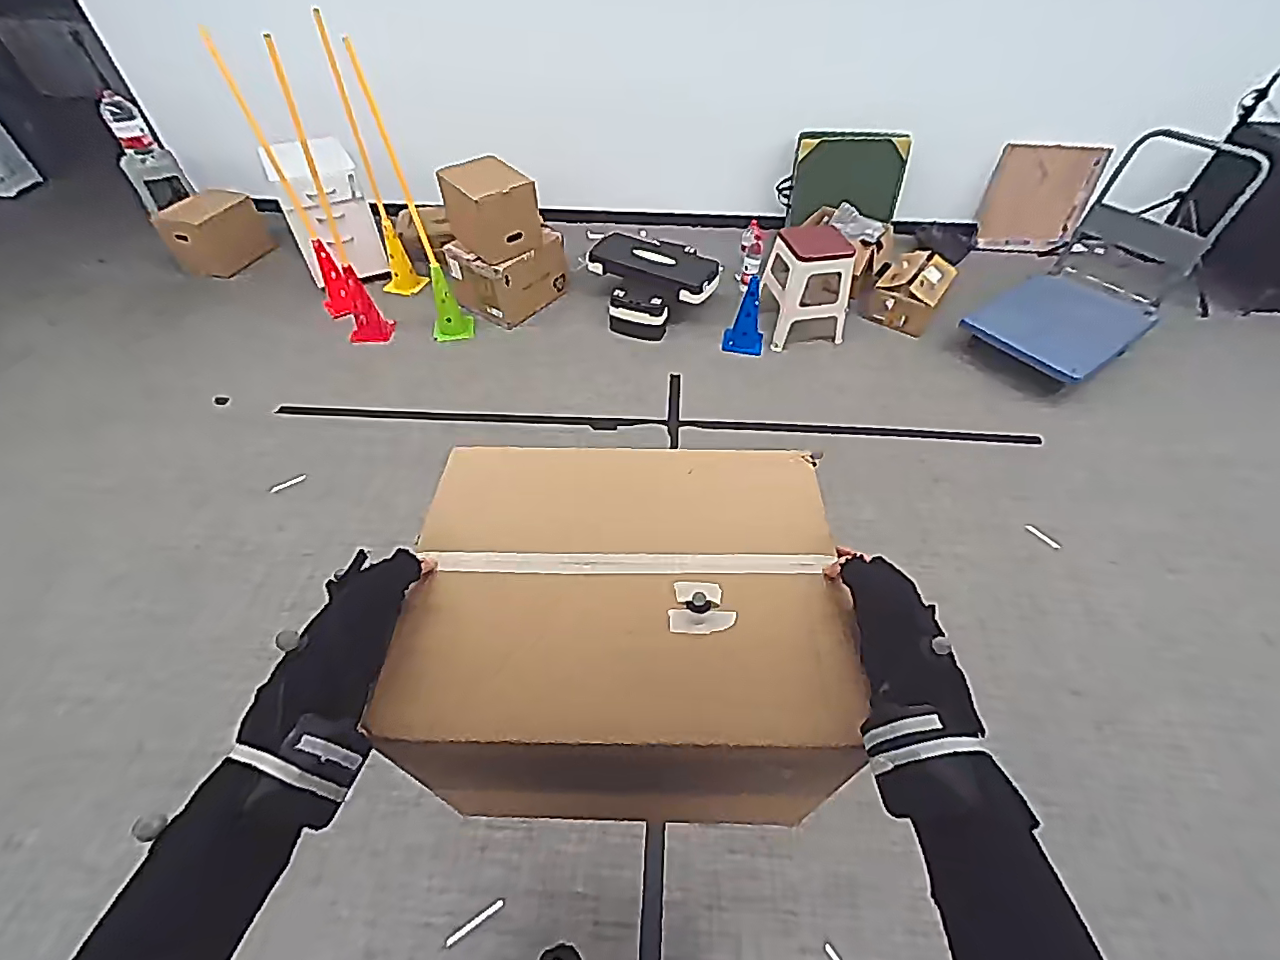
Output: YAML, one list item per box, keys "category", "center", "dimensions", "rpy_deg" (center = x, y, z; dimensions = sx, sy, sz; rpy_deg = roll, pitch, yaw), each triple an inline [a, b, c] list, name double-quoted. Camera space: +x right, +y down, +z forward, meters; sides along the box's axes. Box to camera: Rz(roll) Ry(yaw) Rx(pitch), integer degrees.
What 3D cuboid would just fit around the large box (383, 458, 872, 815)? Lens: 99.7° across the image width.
- category: "large box"
  center: [-0.010, 0.189, 0.640]
  dimensions: [0.408, 0.320, 0.320]
  rpy_deg: [1, 49, 1]
